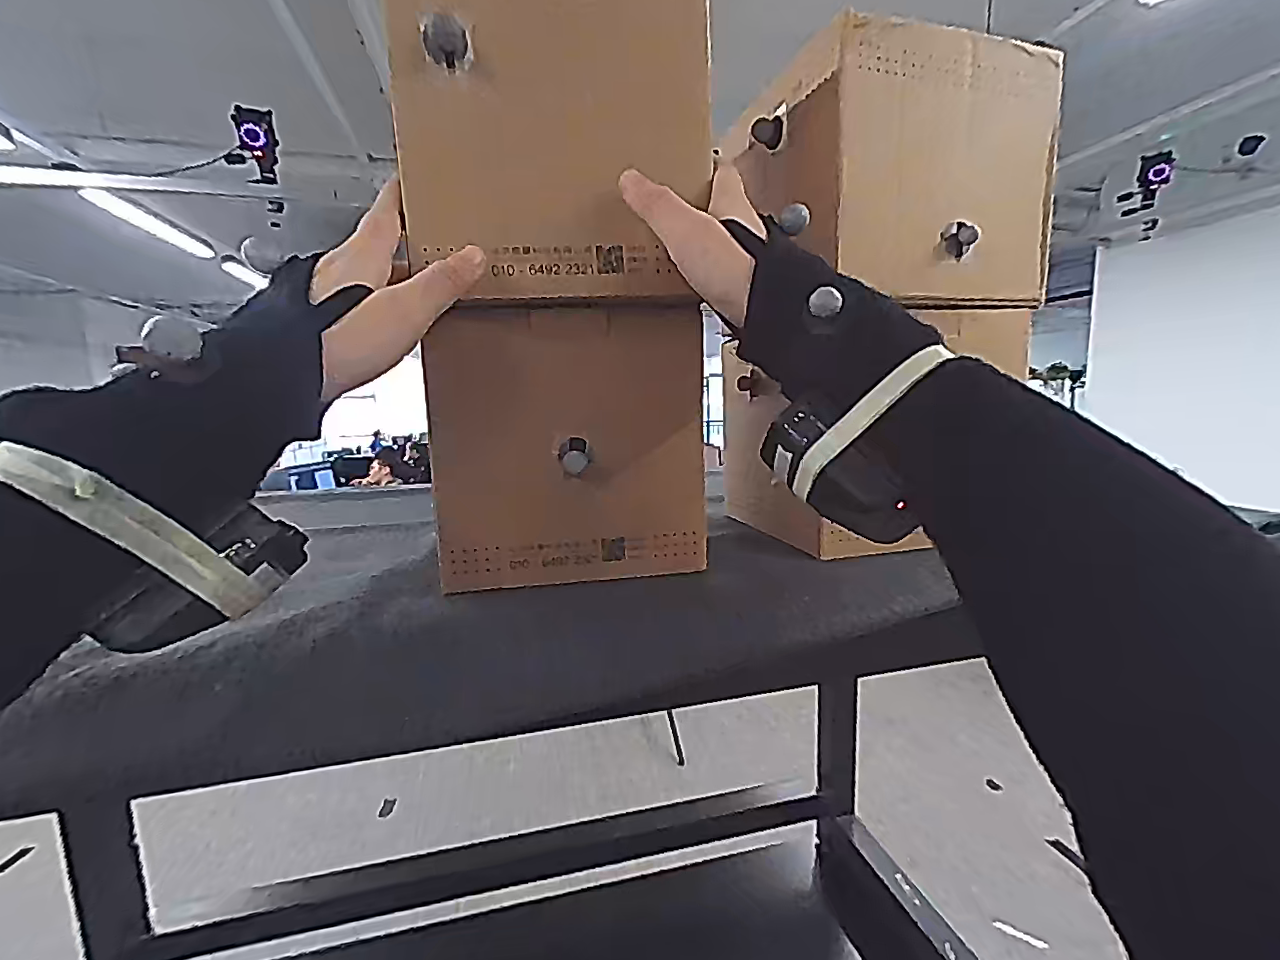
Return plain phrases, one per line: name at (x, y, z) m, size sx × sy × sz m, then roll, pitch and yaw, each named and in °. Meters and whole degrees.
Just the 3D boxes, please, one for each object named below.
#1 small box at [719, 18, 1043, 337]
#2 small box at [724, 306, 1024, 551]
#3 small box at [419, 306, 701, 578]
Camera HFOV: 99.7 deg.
small box at (0.175, -0.208, 0.422) m, size 0.179 × 0.176 × 0.168 m, roll -4°, pitch 7°, yaw -17°
small box at (0.178, -0.044, 0.454) m, size 0.168 × 0.176 × 0.179 m, roll -5°, pitch 8°, yaw -12°
small box at (-0.054, -0.029, 0.404) m, size 0.168 × 0.176 × 0.179 m, roll -3°, pitch 9°, yaw -10°
